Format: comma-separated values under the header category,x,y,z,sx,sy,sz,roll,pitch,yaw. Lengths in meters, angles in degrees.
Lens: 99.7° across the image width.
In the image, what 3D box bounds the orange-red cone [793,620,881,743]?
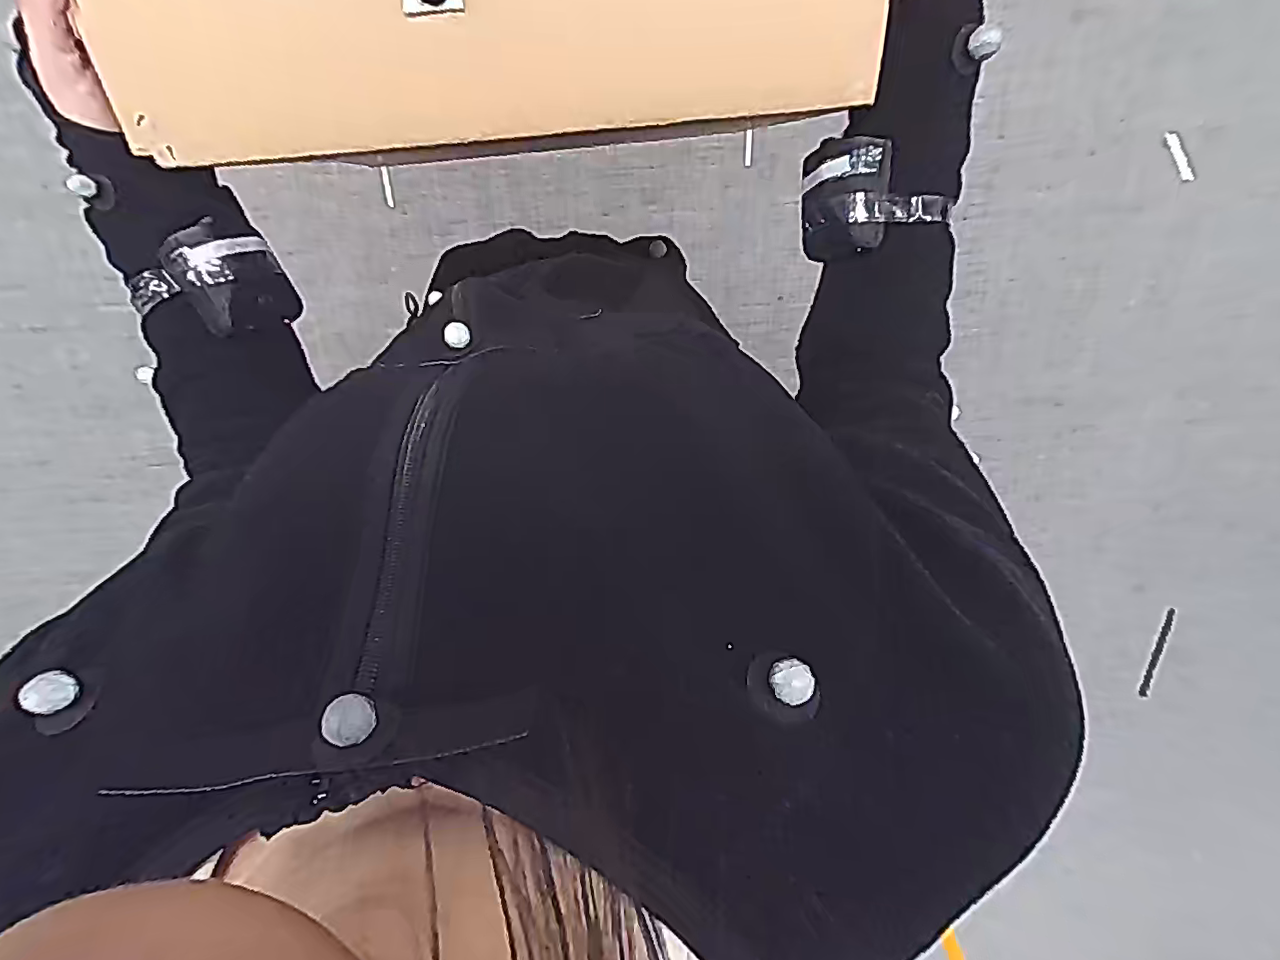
category,x,y,z,sx,sy,sz,roll,pitch,yaw
orange-red cone,0.599,0.602,1.562,0.199,0.360,0.198,-12,113,0
